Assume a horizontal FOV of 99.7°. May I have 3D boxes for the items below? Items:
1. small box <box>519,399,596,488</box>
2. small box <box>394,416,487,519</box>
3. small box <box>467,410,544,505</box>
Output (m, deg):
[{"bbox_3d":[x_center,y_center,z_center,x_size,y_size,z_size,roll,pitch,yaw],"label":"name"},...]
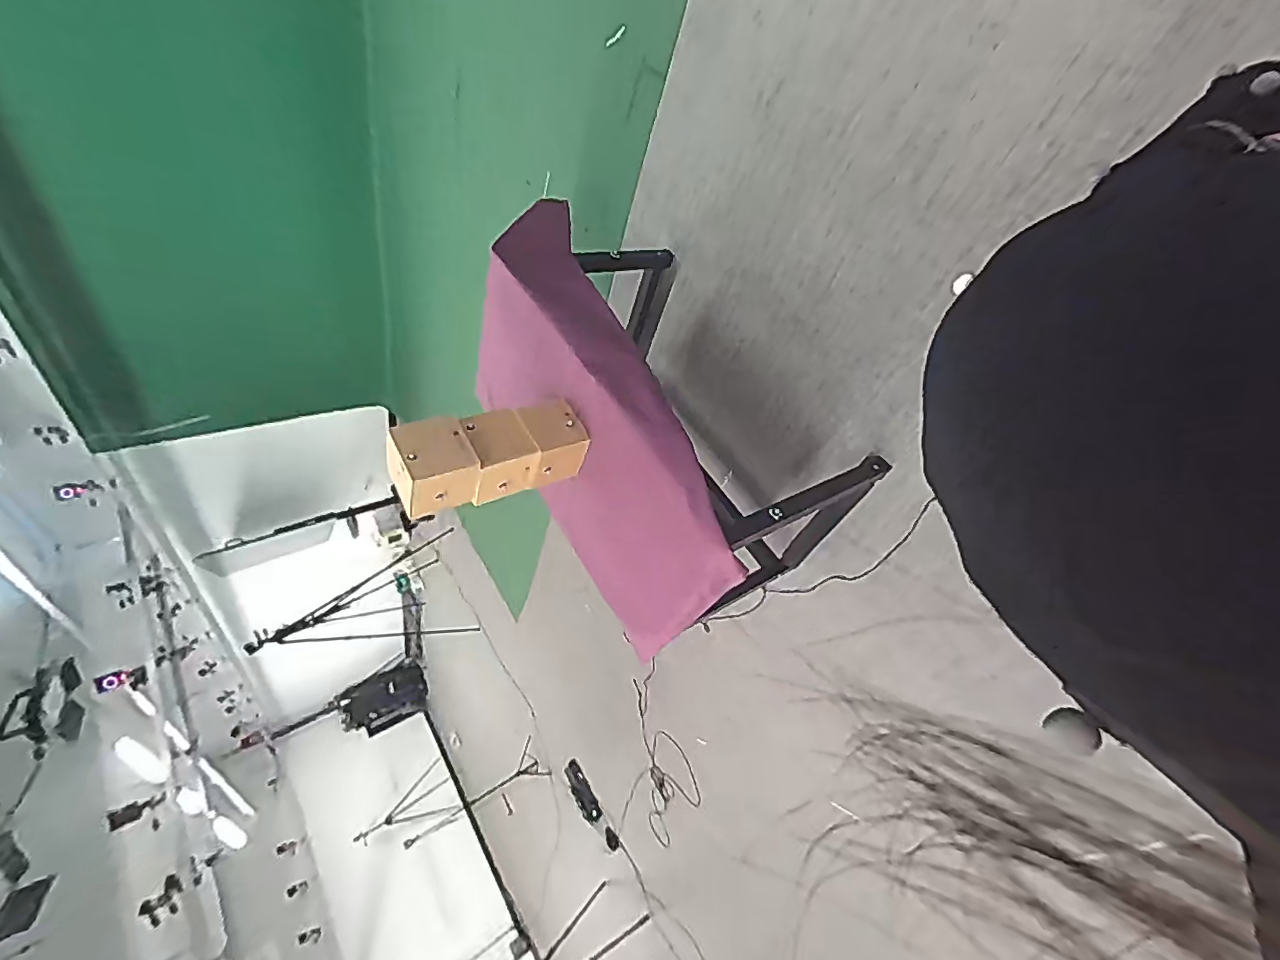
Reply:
[{"bbox_3d":[-0.247,-0.108,1.552,0.168,0.176,0.179,55,143,21],"label":"small box"},{"bbox_3d":[-0.500,-0.033,1.360,0.168,0.176,0.179,55,145,20],"label":"small box"},{"bbox_3d":[-0.378,-0.066,1.467,0.179,0.176,0.168,54,143,22],"label":"small box"}]
